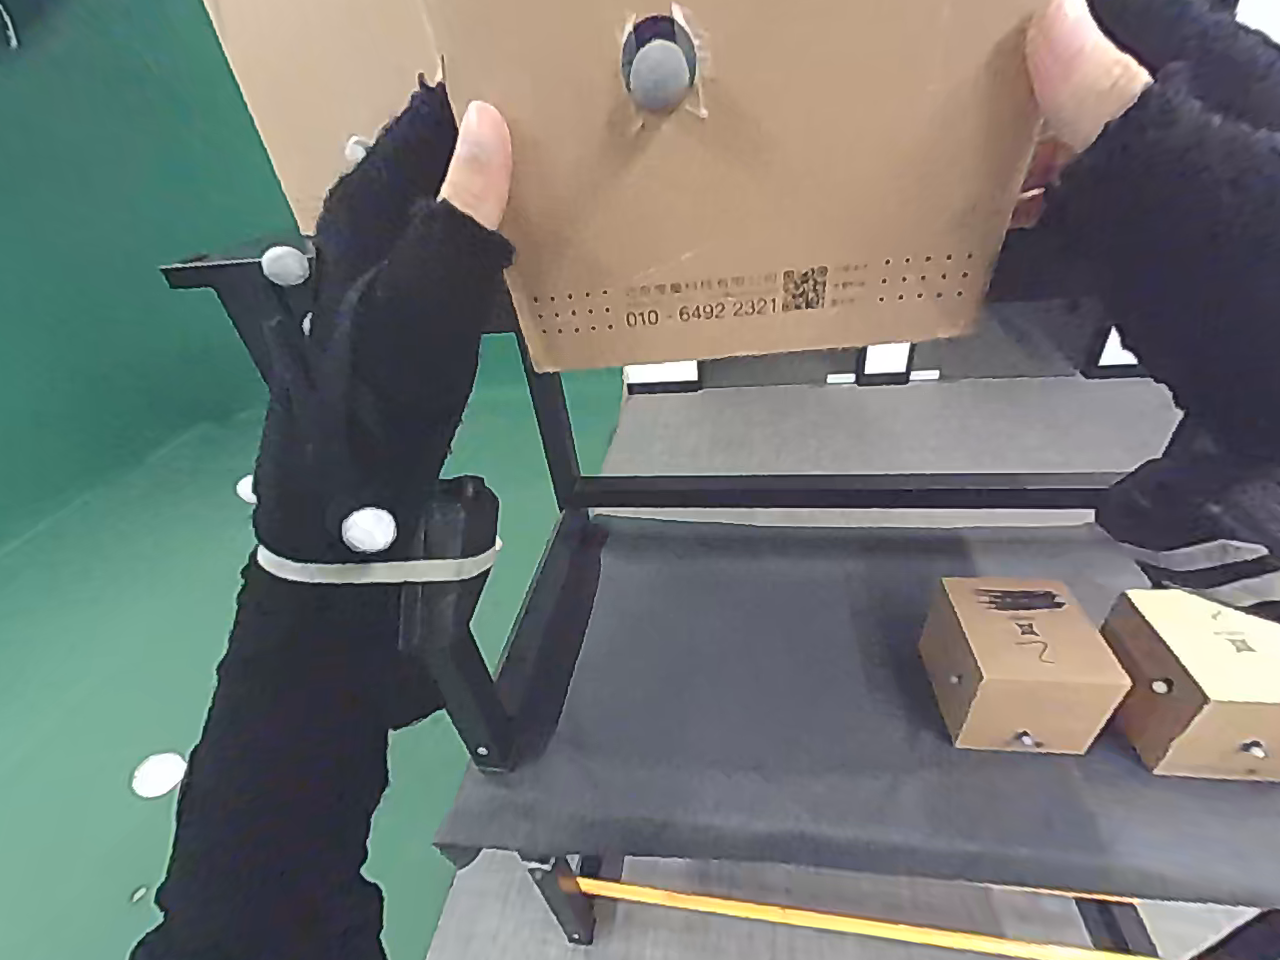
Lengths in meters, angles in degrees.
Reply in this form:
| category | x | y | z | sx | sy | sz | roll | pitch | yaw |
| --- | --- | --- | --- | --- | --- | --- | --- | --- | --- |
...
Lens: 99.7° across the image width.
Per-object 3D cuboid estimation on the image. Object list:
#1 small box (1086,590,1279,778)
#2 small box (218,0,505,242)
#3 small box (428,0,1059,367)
| category | x | y | z | sx | sy | sz | roll | pitch | yaw |
| --- | --- | --- | --- | --- | --- | --- | --- | --- | --- |
| small box | 0.752 | 0.269 | 0.721 | 0.168 | 0.176 | 0.179 | -1 | 34 | 9 |
| small box | -0.181 | -0.303 | 0.443 | 0.168 | 0.176 | 0.179 | -1 | 36 | 9 |
| small box | 0.035 | -0.156 | 0.214 | 0.168 | 0.176 | 0.179 | -4 | 42 | 7 |
